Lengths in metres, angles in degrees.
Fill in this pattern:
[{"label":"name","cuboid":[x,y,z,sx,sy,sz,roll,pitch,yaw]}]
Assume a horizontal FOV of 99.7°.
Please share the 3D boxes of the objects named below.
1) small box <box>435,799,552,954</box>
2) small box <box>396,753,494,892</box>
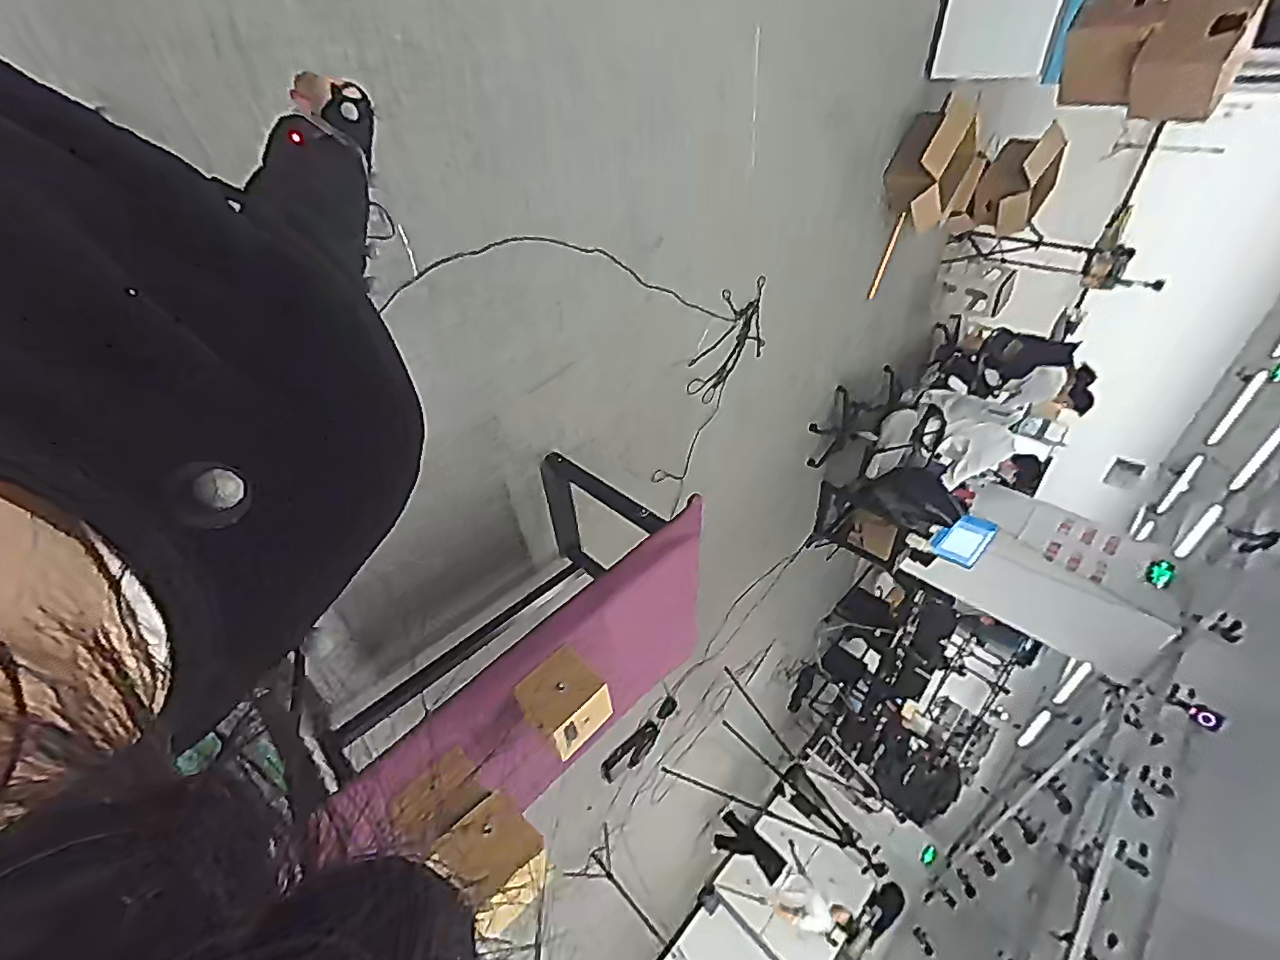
[{"label":"small box","cuboid":[-0.302,0.813,1.125,0.168,0.176,0.179,-29,134,-37]},{"label":"small box","cuboid":[-0.426,0.768,1.223,0.179,0.176,0.168,-35,139,-31]}]
